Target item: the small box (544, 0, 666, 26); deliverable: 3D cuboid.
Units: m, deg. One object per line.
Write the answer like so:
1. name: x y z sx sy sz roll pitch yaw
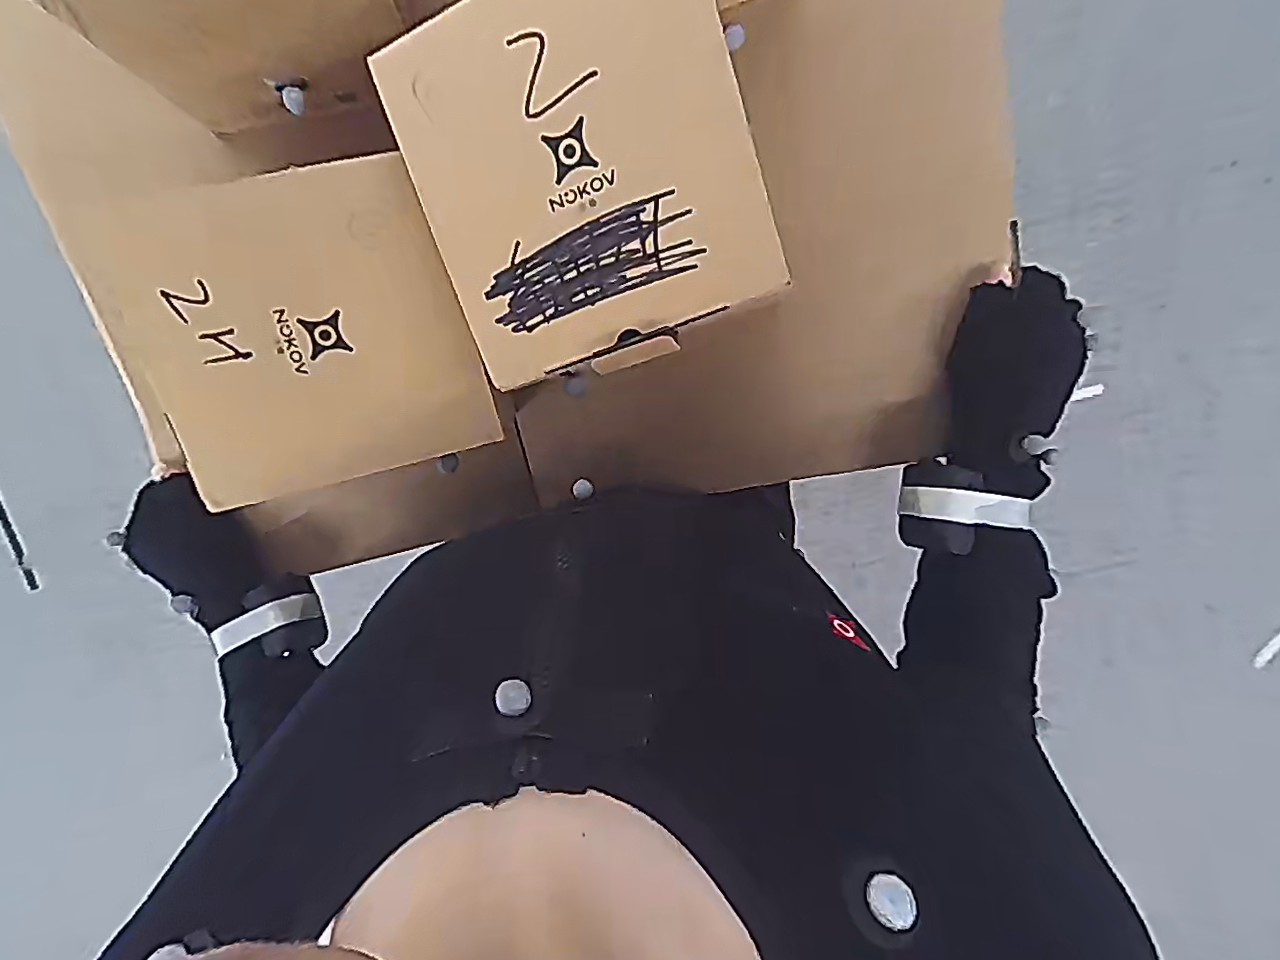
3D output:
1. small box: -0.008 -0.384 0.279 0.168 0.176 0.179 -8 103 14
